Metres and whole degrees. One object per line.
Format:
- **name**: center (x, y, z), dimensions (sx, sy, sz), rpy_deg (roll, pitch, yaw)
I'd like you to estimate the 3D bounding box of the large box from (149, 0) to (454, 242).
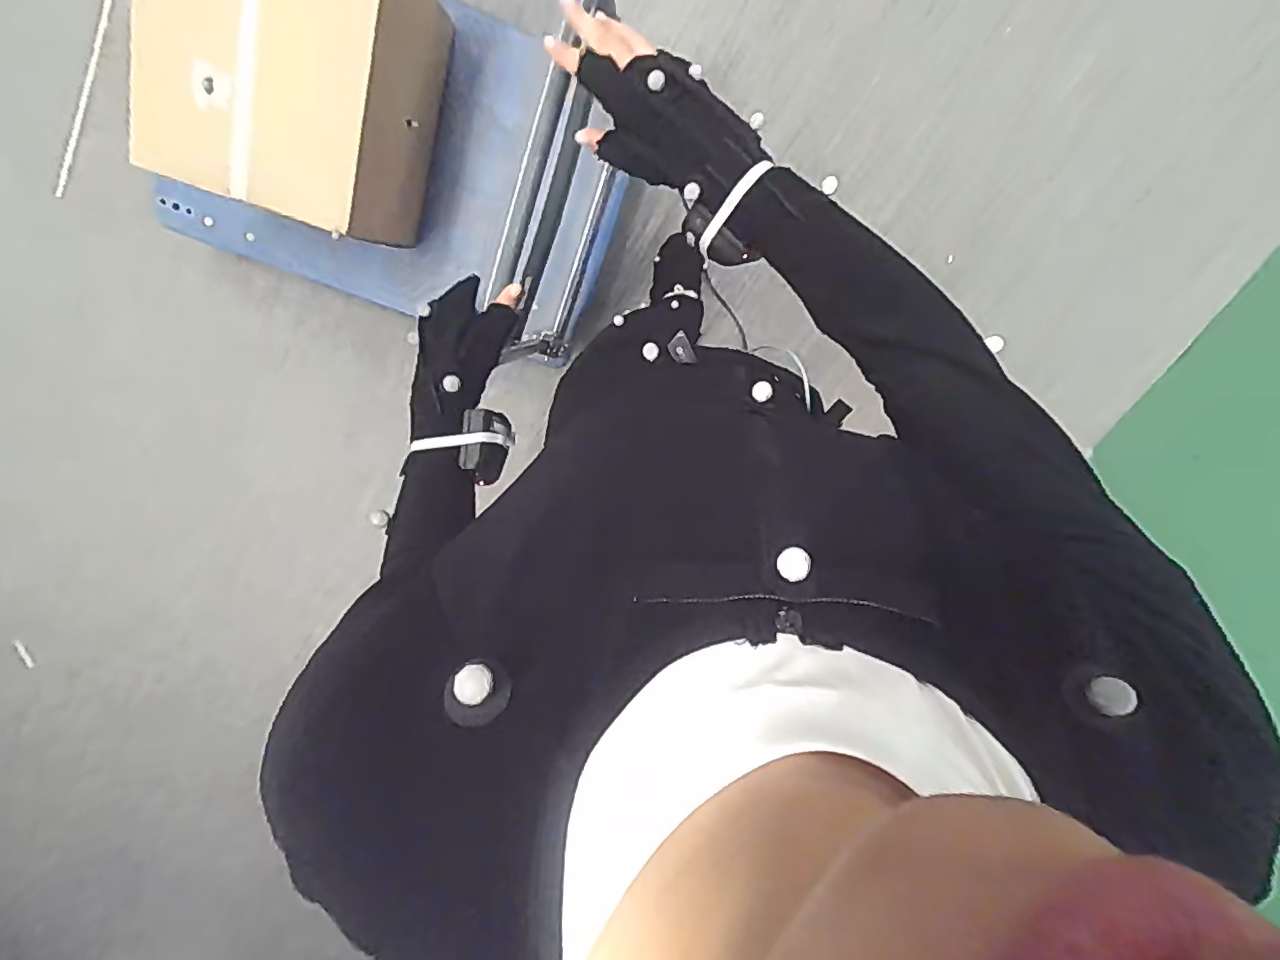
- **large box**: center (-0.534, -0.660, 0.902), dimensions (0.320, 0.320, 0.408), rpy_deg (17, 109, -7)
